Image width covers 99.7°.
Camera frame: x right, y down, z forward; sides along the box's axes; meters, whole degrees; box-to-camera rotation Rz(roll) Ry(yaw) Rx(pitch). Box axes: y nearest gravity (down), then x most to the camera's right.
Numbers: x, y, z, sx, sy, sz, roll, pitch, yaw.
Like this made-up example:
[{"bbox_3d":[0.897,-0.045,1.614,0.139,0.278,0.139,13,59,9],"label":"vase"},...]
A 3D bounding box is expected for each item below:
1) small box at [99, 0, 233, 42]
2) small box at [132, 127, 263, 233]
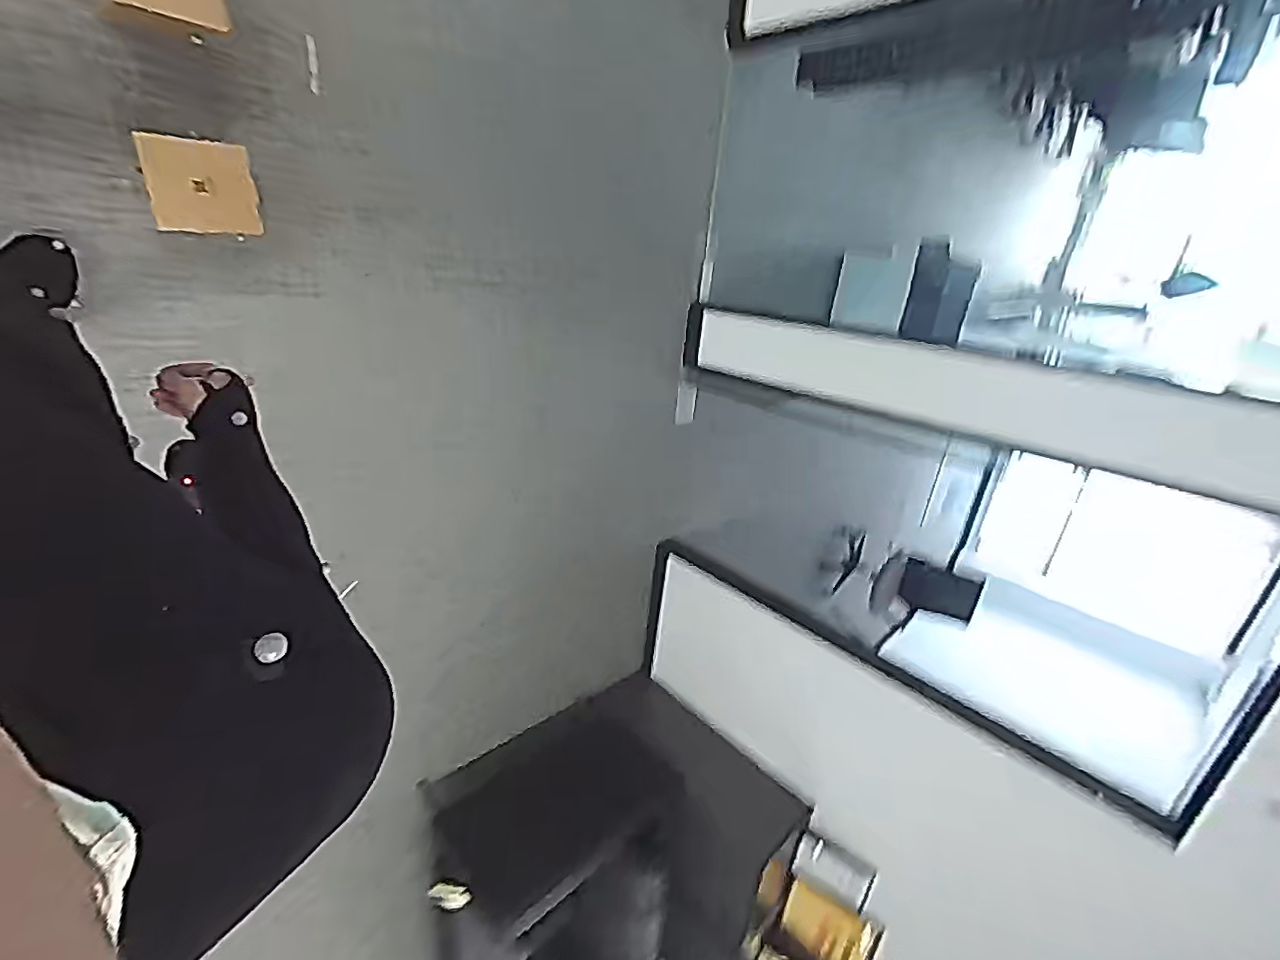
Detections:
[{"bbox_3d":[-0.871,-0.927,0.979,0.179,0.176,0.168,-14,119,-41],"label":"small box"},{"bbox_3d":[-0.908,-0.605,1.109,0.179,0.176,0.168,-18,122,-41],"label":"small box"}]
